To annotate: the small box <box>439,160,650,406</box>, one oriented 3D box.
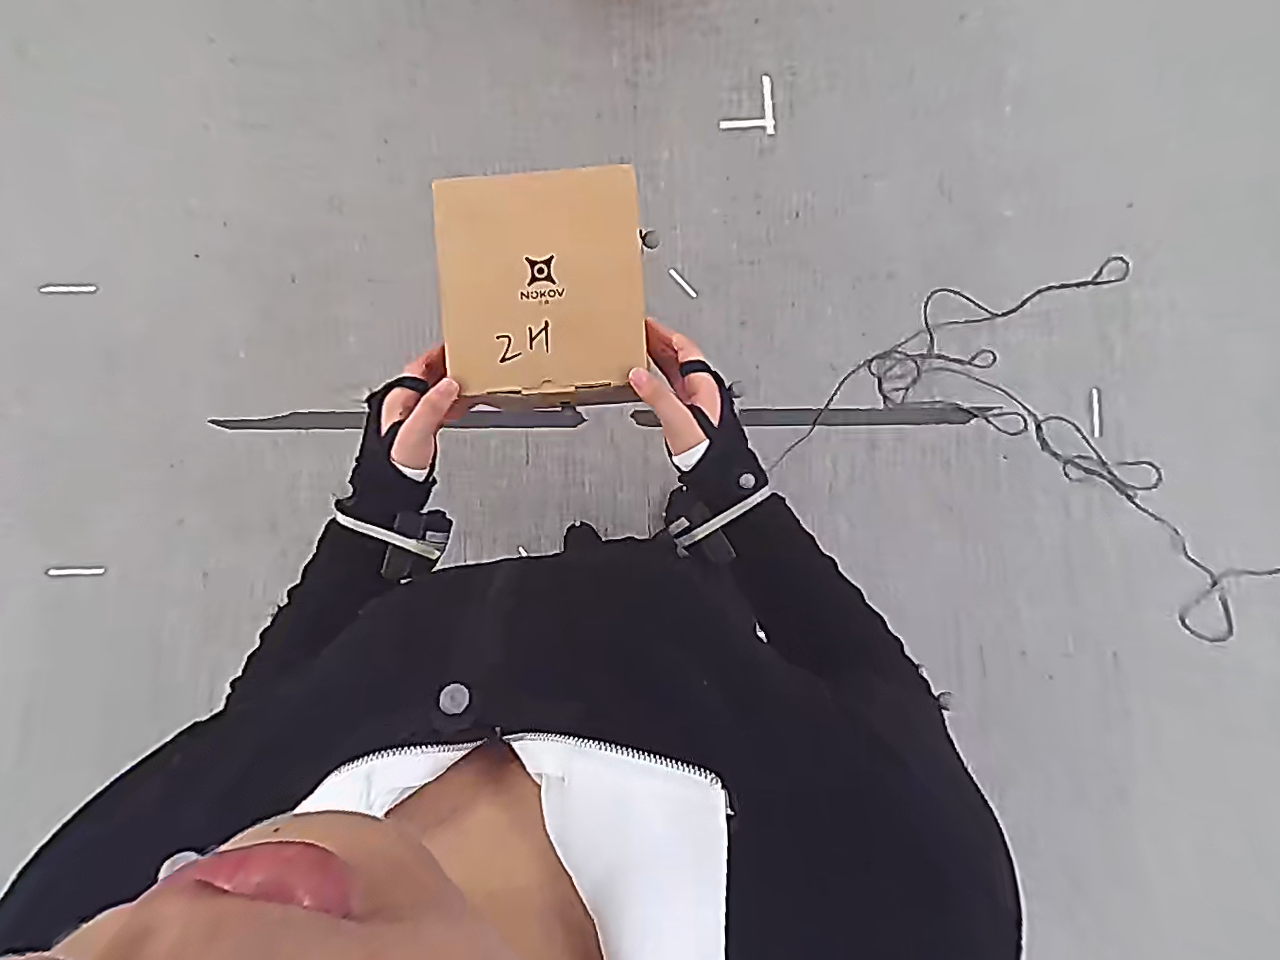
[{"bbox_3d":[-0.076,-0.170,0.517,0.168,0.176,0.179,-3,93,2],"label":"small box"}]
